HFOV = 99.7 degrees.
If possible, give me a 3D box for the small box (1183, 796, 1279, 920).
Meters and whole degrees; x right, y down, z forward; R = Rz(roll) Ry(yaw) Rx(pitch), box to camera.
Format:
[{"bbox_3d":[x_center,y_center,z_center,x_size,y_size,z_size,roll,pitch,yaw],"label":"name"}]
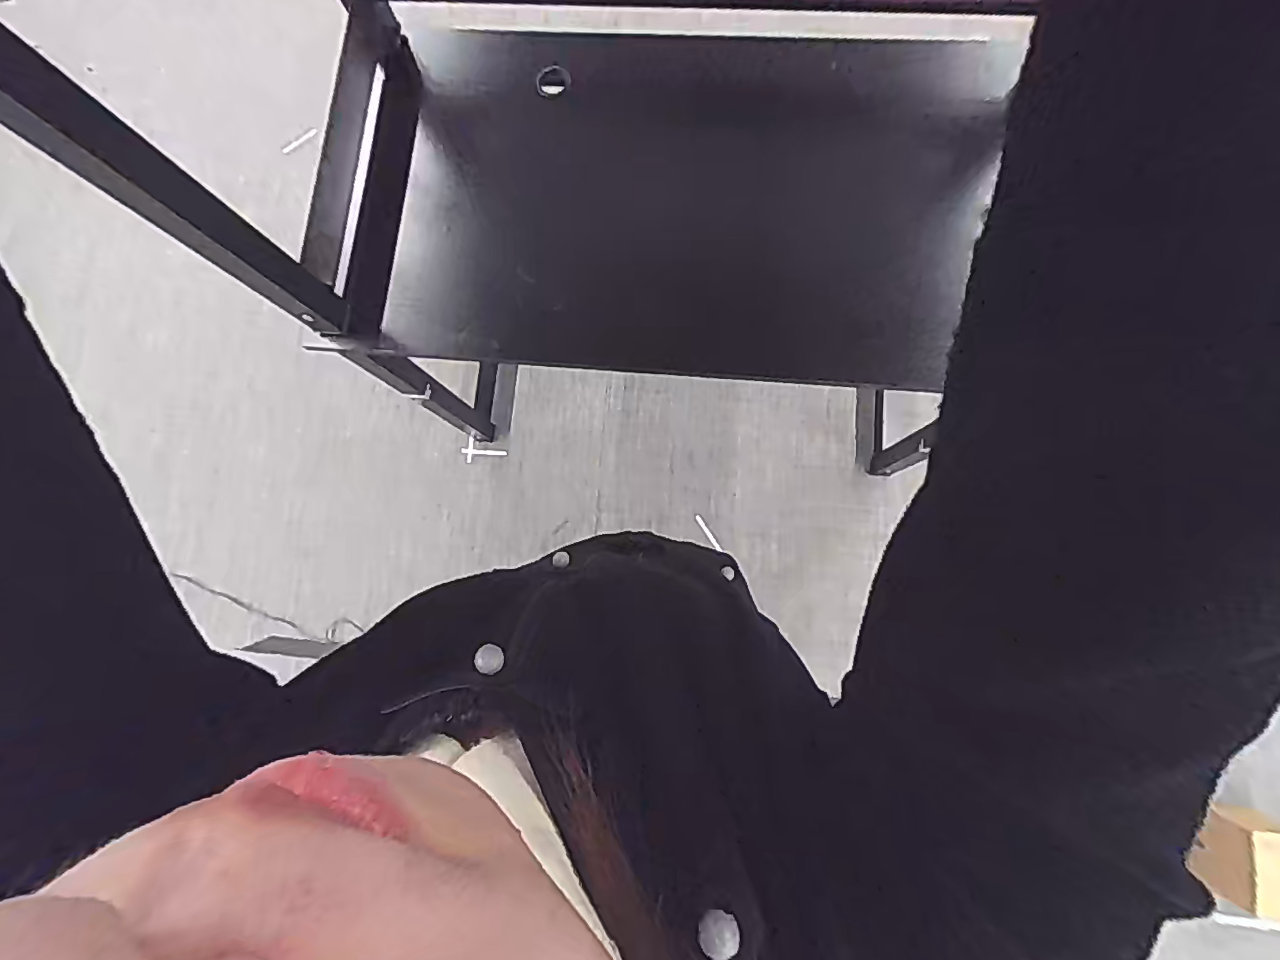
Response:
[{"bbox_3d":[1.399,0.861,1.233,0.168,0.176,0.179,6,83,4],"label":"small box"}]
